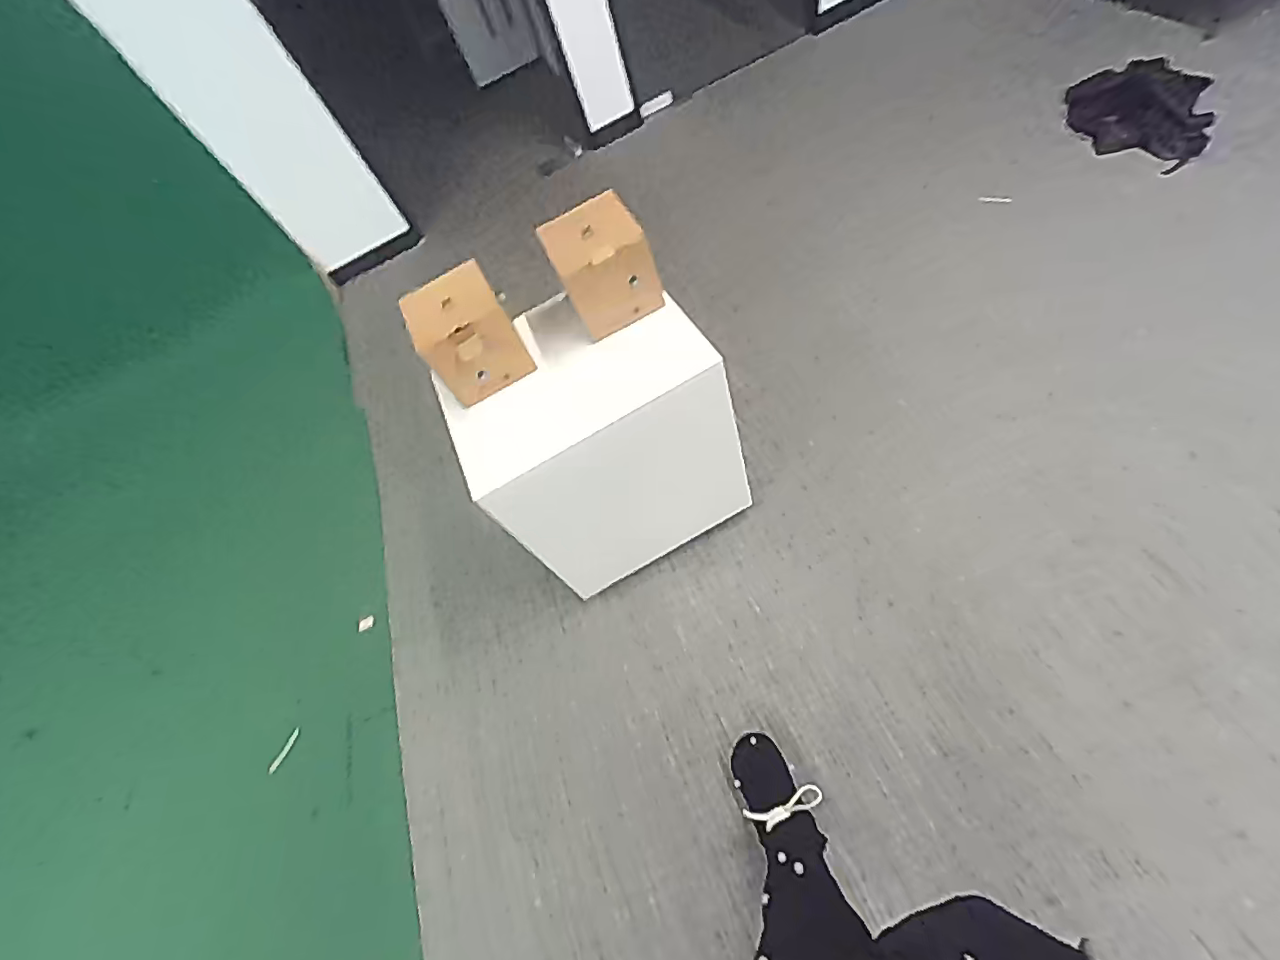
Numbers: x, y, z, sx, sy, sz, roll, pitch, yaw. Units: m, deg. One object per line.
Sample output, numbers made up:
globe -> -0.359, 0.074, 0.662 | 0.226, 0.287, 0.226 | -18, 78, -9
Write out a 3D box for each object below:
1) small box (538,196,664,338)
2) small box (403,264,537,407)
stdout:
small box -> -0.070, -0.400, 1.045 | 0.168, 0.176, 0.179 | -27, 55, 0
small box -> -0.326, -0.276, 1.051 | 0.168, 0.176, 0.179 | -30, 57, -2
